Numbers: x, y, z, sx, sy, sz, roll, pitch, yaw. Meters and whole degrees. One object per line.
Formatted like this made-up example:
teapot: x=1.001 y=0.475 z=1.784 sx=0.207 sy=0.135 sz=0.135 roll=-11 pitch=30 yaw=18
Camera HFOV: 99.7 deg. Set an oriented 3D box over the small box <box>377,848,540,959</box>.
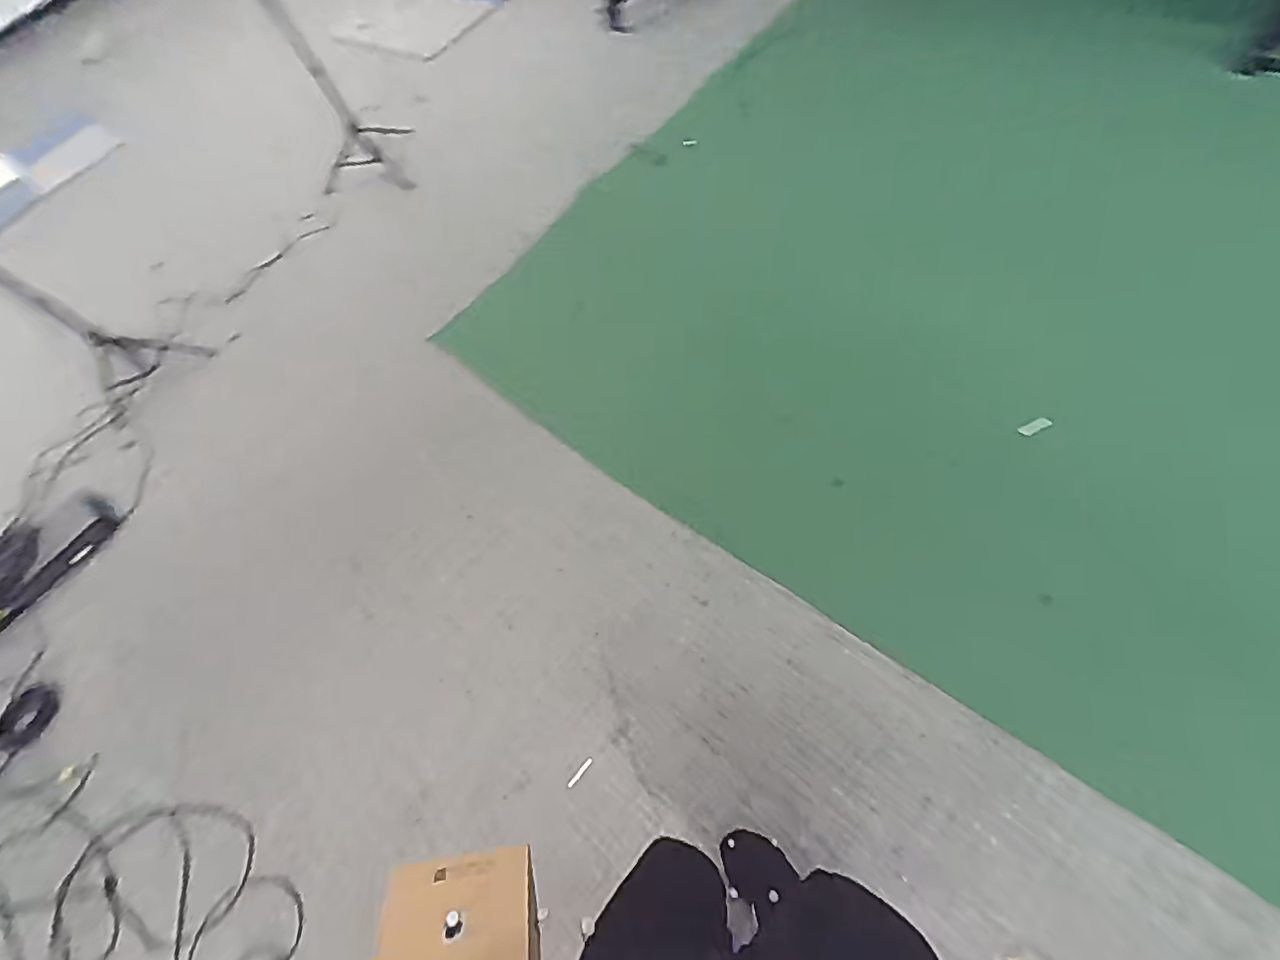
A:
small box: x=-0.204 y=0.565 z=0.630 sx=0.168 sy=0.179 sz=0.176 roll=-5 pitch=24 yaw=-10
